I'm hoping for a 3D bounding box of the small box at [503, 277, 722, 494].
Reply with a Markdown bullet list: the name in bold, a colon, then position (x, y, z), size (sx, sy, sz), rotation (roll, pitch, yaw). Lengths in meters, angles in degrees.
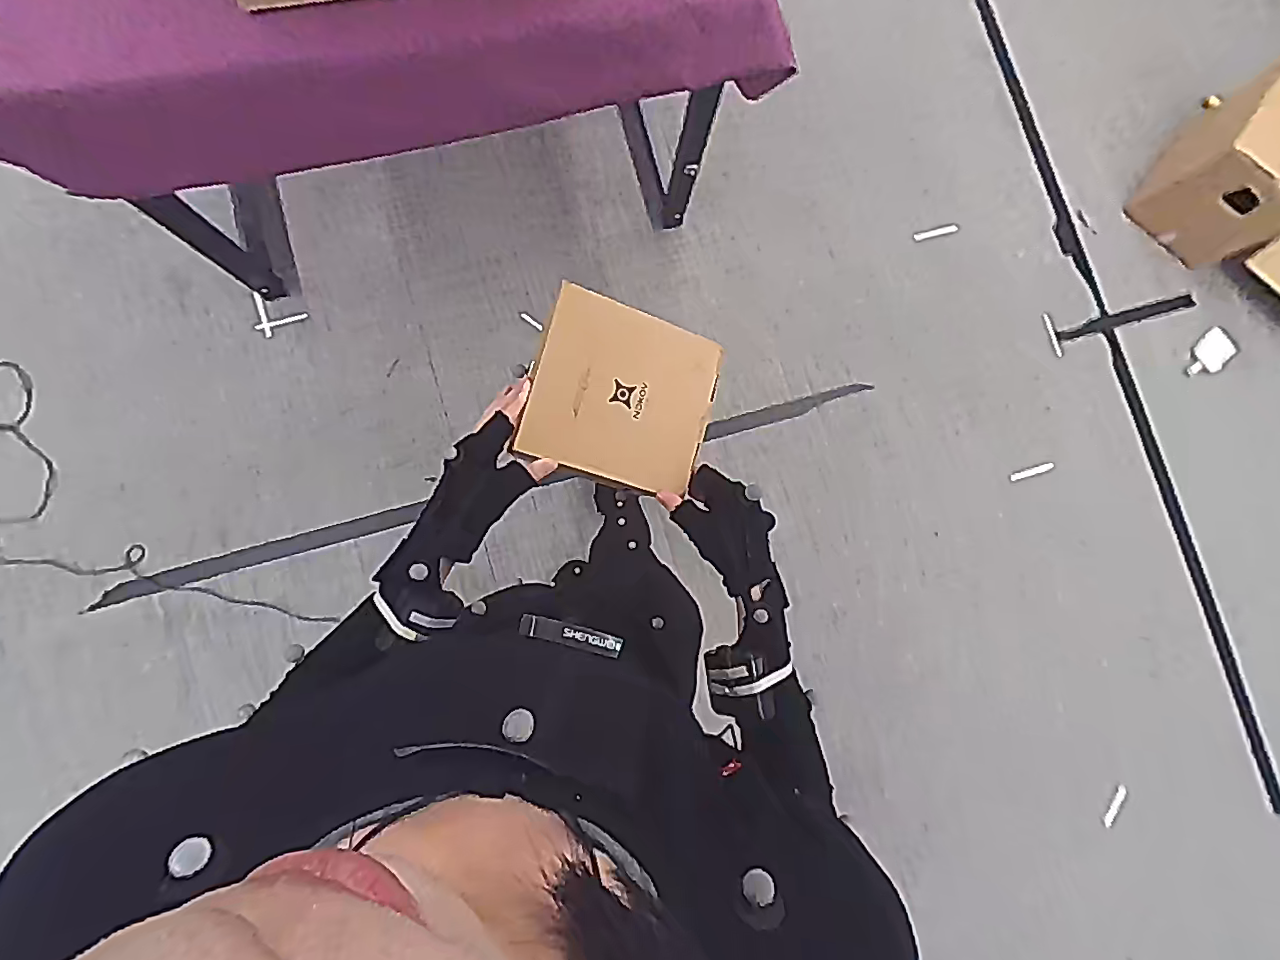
- **small box**: position (-0.040, -0.087, 0.588), size (0.179, 0.176, 0.168), rotation (16, 85, -16)
